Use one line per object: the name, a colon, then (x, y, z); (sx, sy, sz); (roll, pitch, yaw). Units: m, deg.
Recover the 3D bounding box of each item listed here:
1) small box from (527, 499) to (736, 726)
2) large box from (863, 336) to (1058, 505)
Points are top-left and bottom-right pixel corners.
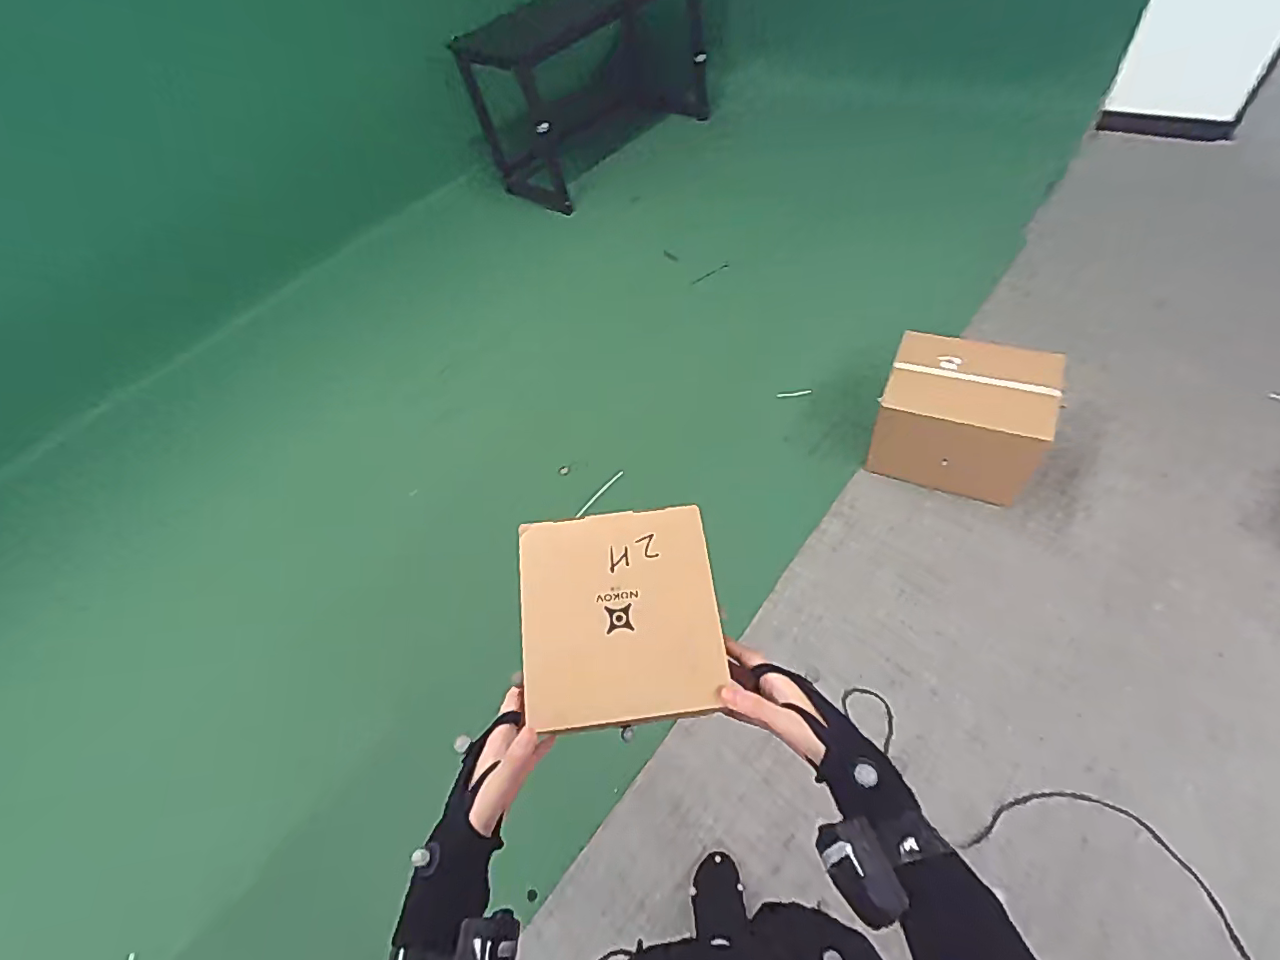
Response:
small box: (-0.012, 0.136, 0.525); (0.168, 0.176, 0.179); (-5, 64, -3)
large box: (0.910, -0.174, 1.572); (0.408, 0.320, 0.320); (17, 60, 24)
